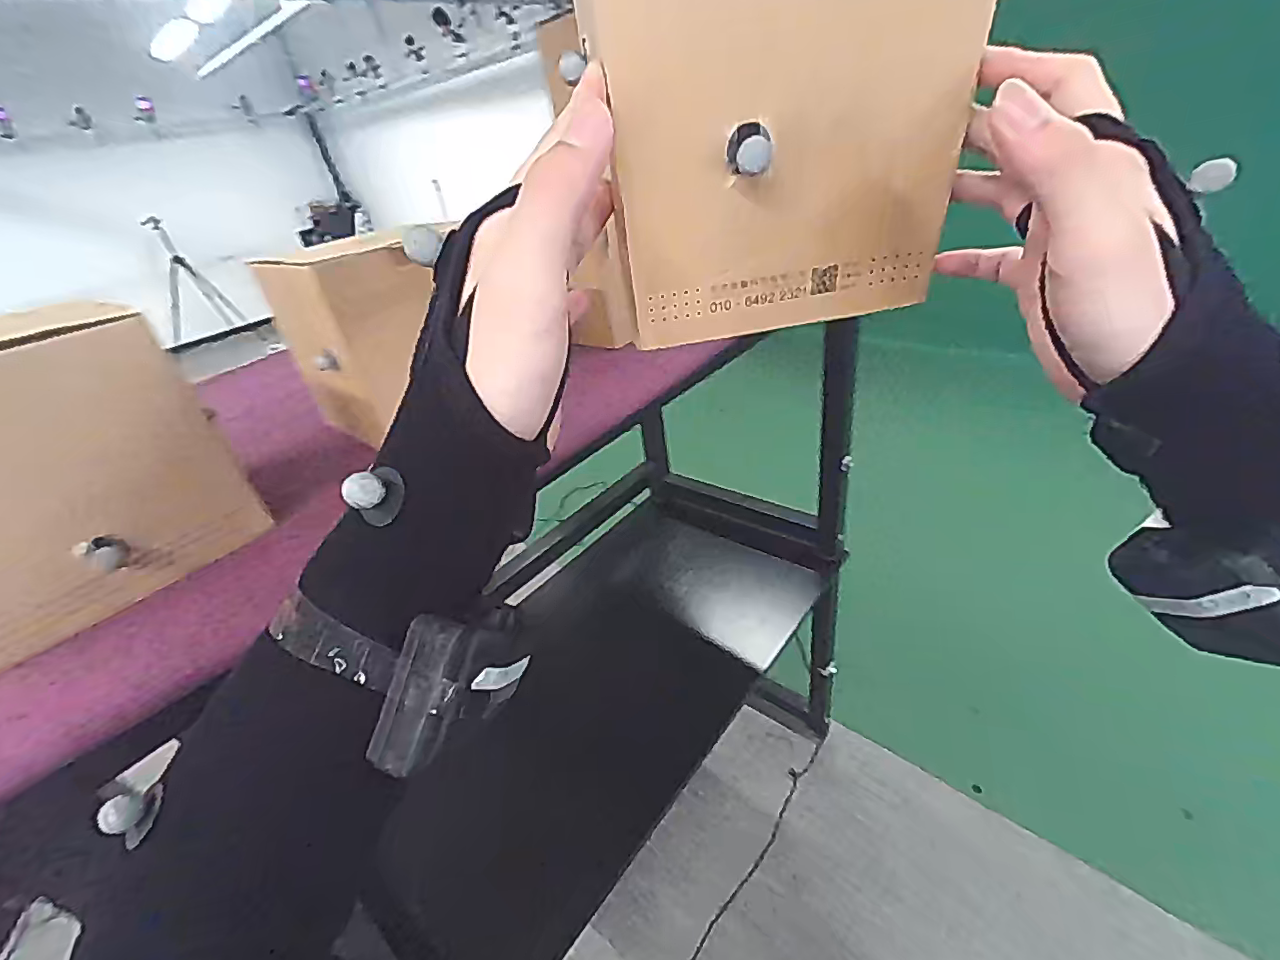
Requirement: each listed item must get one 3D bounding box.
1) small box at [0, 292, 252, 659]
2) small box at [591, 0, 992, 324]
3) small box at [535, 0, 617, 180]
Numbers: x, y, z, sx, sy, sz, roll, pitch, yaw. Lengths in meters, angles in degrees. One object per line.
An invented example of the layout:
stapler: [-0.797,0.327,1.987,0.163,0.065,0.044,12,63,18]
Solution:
small box: [-0.401,-0.015,0.360,0.168,0.176,0.179,16,40,35]
small box: [0.069,-0.202,0.312,0.168,0.176,0.179,-10,40,0]
small box: [0.004,-0.489,0.676,0.179,0.176,0.168,17,41,37]
